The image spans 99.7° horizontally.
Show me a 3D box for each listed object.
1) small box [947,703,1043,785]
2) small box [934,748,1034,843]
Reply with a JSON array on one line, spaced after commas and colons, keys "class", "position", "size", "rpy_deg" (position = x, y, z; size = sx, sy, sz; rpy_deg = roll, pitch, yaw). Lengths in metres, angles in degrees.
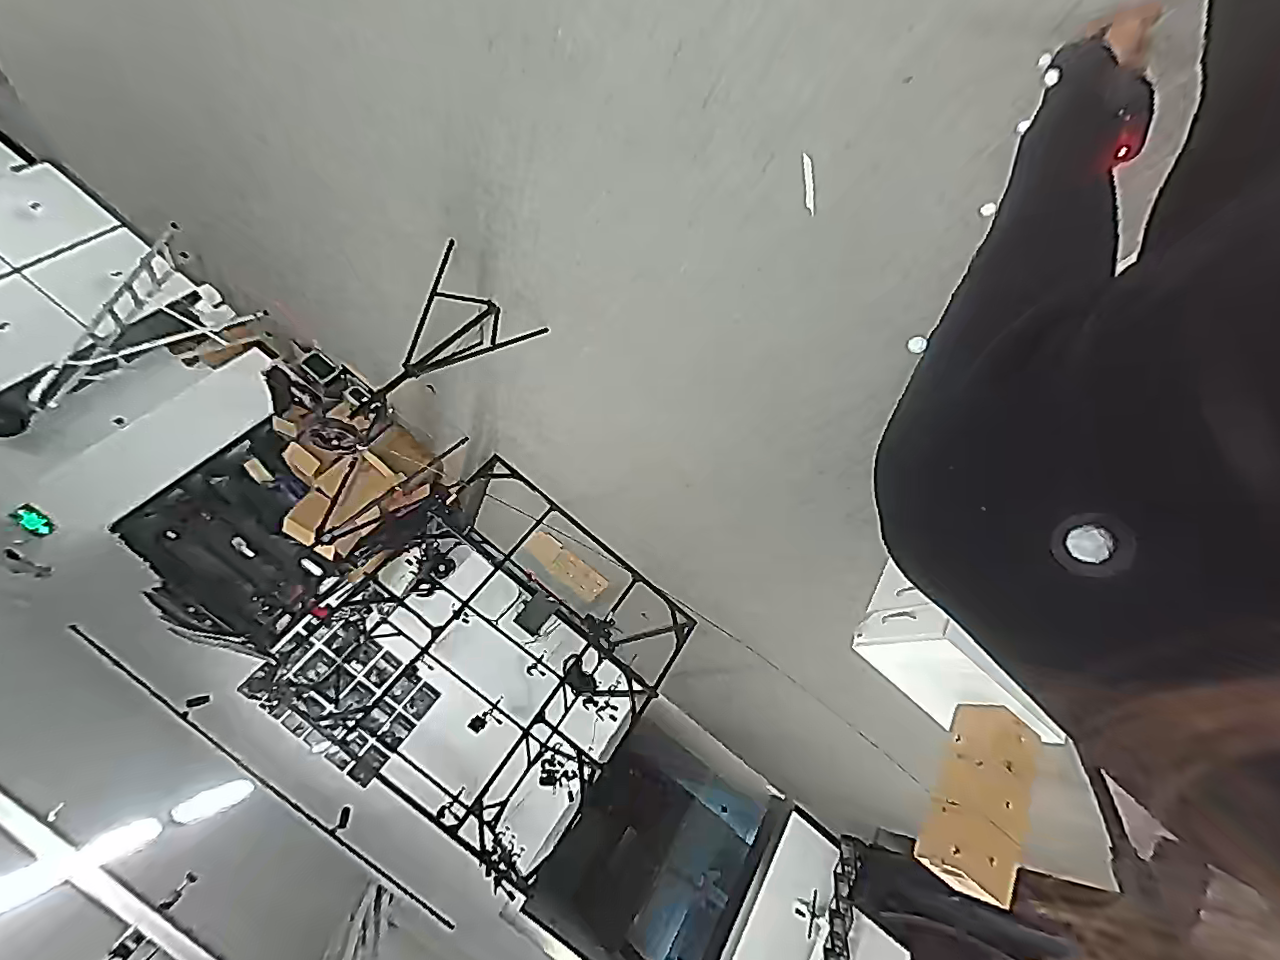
[{"class": "small box", "position": [1.121, 0.824, 1.705], "size": [0.168, 0.176, 0.179], "rpy_deg": [40, 152, -3]}, {"class": "small box", "position": [1.033, 0.936, 1.623], "size": [0.179, 0.176, 0.168], "rpy_deg": [40, 152, -4]}]
